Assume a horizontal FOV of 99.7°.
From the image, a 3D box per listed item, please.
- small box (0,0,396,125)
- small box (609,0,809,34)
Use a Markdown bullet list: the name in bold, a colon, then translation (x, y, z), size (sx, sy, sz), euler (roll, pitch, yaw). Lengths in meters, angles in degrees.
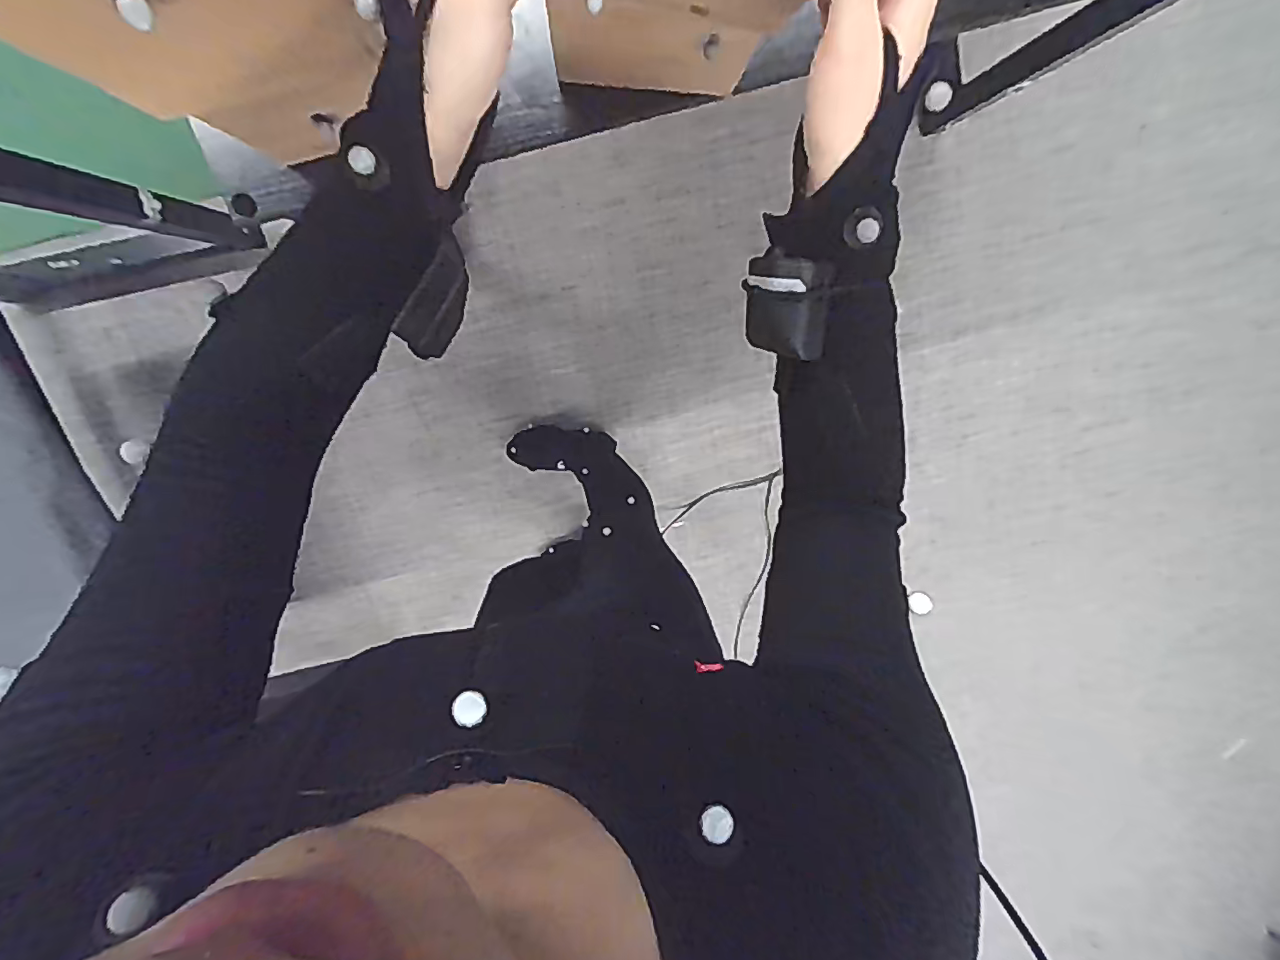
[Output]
- **small box**: translation (-0.253, -0.322, 0.284), size (0.179, 0.176, 0.168), euler (-15, 107, 0)
- **small box**: translation (0.041, -0.369, 0.278), size (0.168, 0.176, 0.179), euler (5, 115, -6)
